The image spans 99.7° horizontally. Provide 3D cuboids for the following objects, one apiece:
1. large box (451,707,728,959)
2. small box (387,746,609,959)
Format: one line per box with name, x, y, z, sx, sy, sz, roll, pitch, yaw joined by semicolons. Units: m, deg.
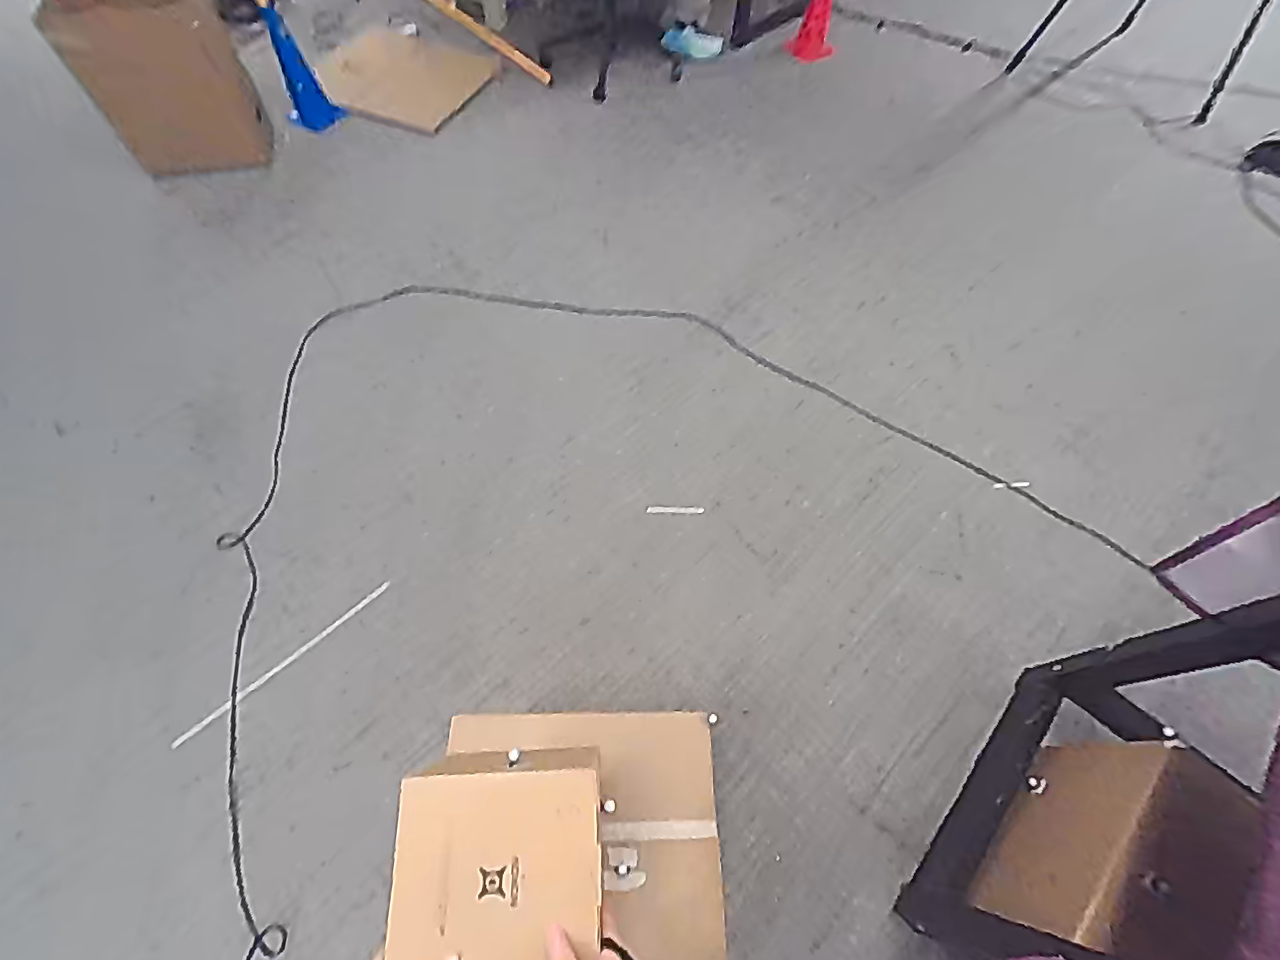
large box;-0.091;0.570;0.907;0.408;0.320;0.320;0;62;-2
small box;-0.120;0.360;0.526;0.179;0.176;0.168;0;70;-3
